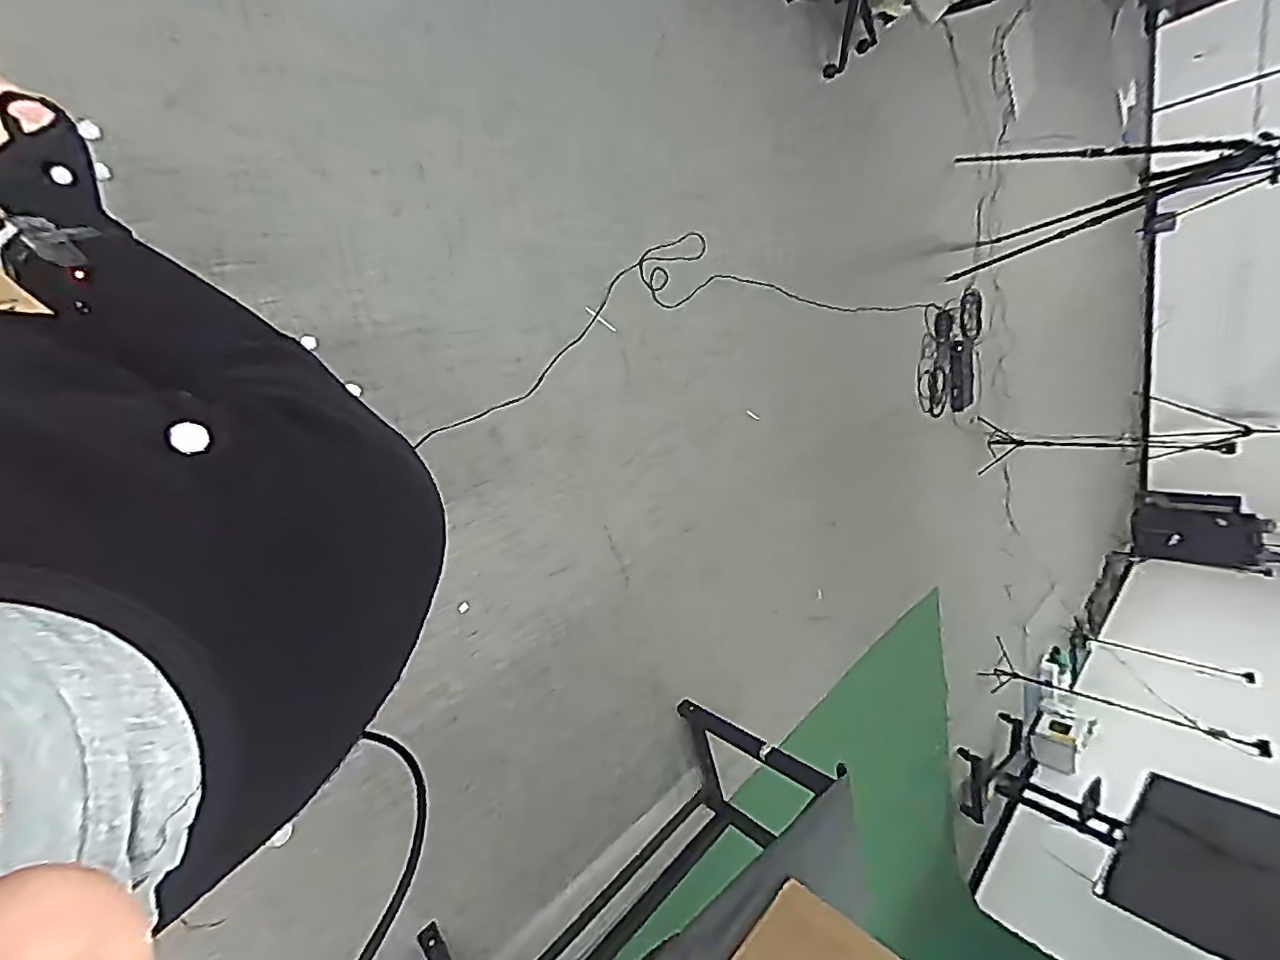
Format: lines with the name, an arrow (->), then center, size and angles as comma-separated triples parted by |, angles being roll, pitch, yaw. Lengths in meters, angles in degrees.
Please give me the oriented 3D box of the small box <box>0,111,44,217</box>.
small box -> -0.656, -0.319, 0.427 | 0.168, 0.176, 0.179 | -25, 107, -23
